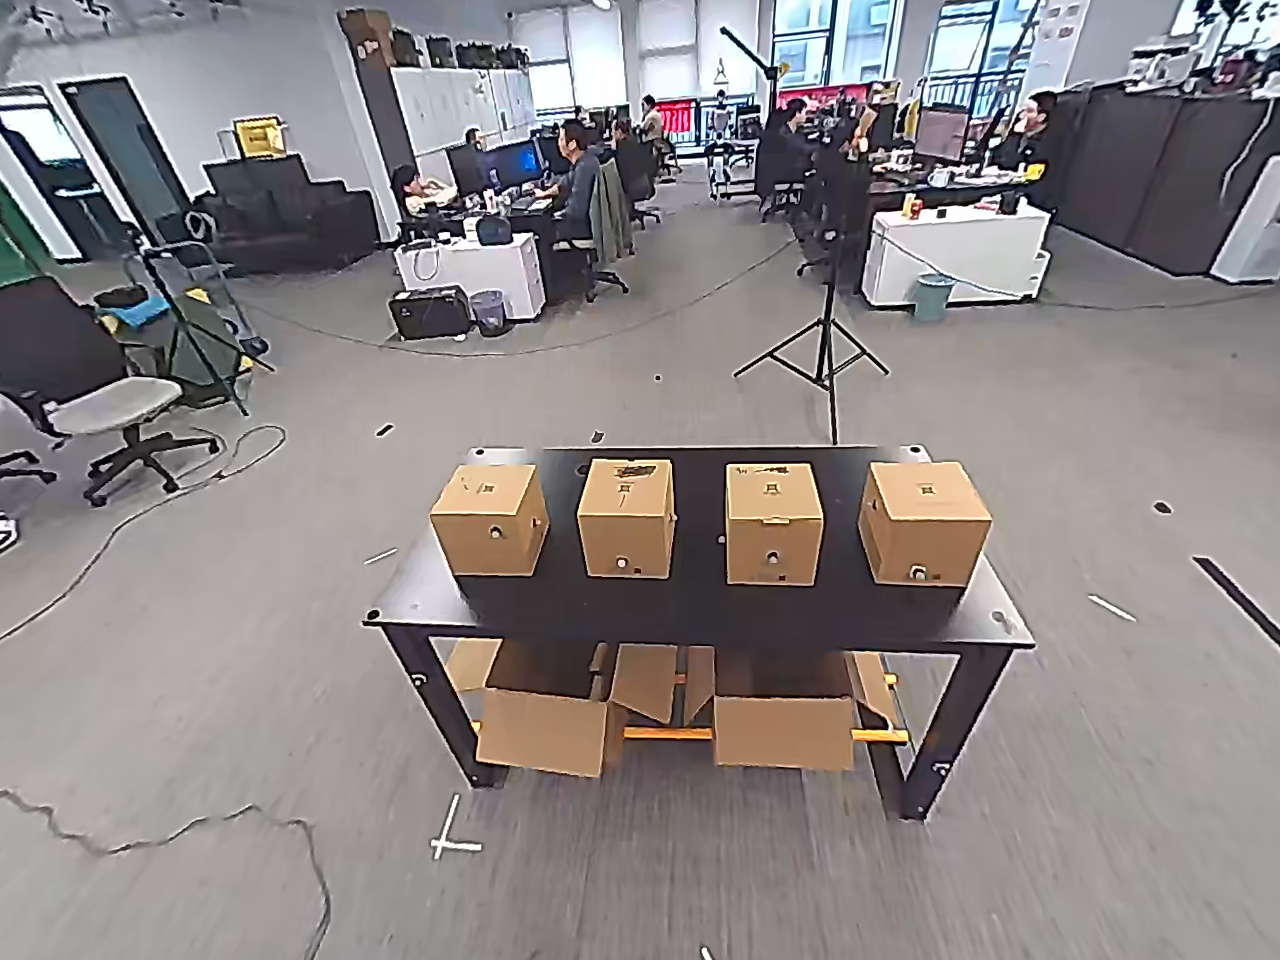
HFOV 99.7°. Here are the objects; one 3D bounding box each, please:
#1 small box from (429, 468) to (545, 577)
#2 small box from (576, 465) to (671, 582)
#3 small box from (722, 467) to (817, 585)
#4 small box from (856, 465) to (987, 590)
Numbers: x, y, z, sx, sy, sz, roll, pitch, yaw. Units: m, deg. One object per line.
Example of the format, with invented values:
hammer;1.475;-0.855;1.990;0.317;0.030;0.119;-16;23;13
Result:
small box;-0.309;0.090;1.139;0.179;0.176;0.168;0;36;6
small box;-0.025;0.086;1.111;0.168;0.176;0.179;0;37;8
small box;0.248;0.092;1.068;0.168;0.176;0.179;0;37;8
small box;0.524;0.088;1.037;0.168;0.176;0.179;-1;37;9
